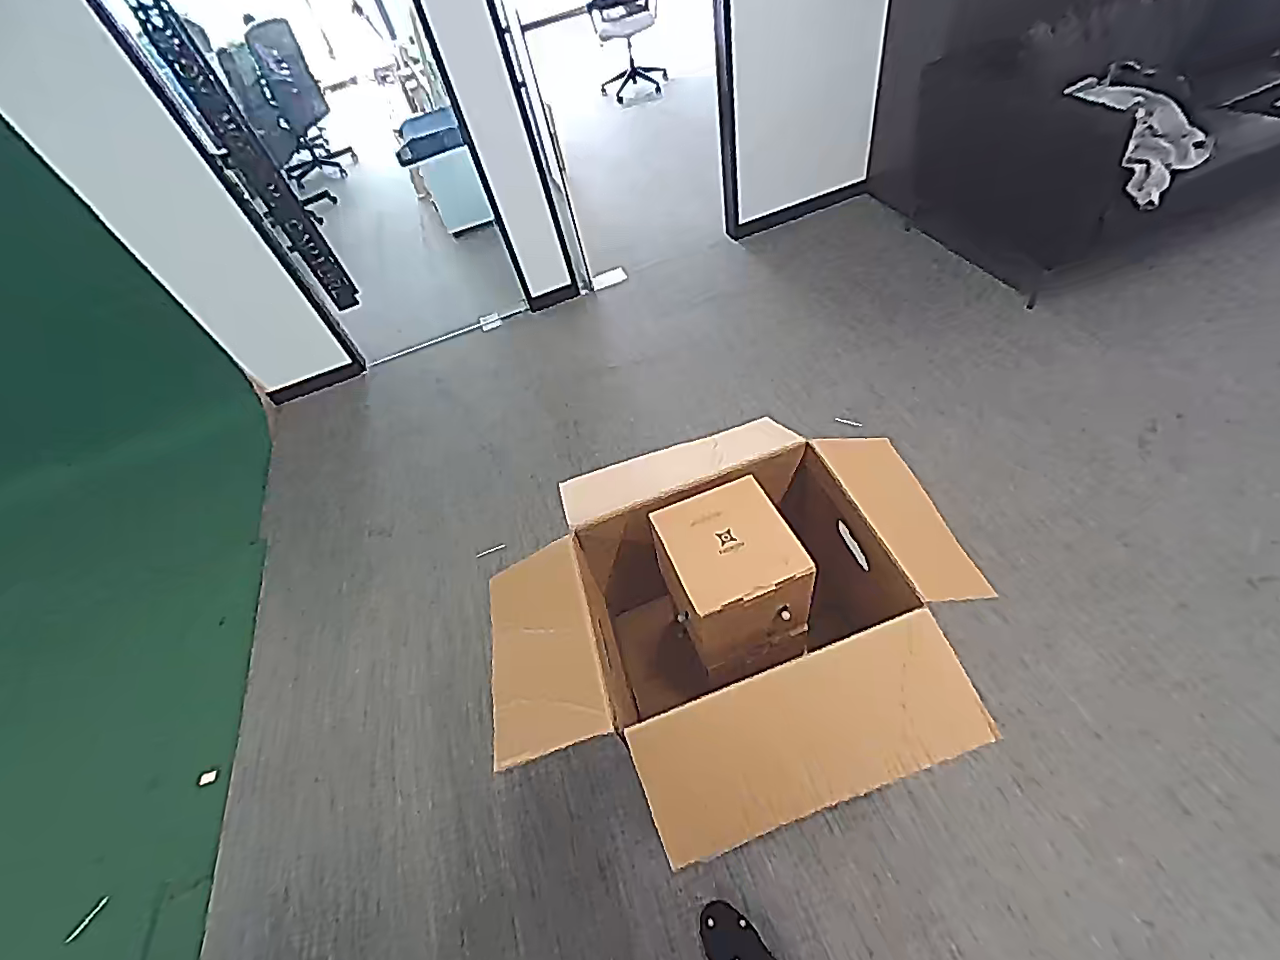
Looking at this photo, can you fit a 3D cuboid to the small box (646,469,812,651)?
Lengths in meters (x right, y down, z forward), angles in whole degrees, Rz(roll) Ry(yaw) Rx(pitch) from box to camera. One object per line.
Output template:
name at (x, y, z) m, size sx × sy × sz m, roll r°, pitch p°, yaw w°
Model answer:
small box at (0.123, 0.121, 0.771) m, size 0.168 × 0.176 × 0.179 m, roll -20°, pitch 49°, yaw -8°
